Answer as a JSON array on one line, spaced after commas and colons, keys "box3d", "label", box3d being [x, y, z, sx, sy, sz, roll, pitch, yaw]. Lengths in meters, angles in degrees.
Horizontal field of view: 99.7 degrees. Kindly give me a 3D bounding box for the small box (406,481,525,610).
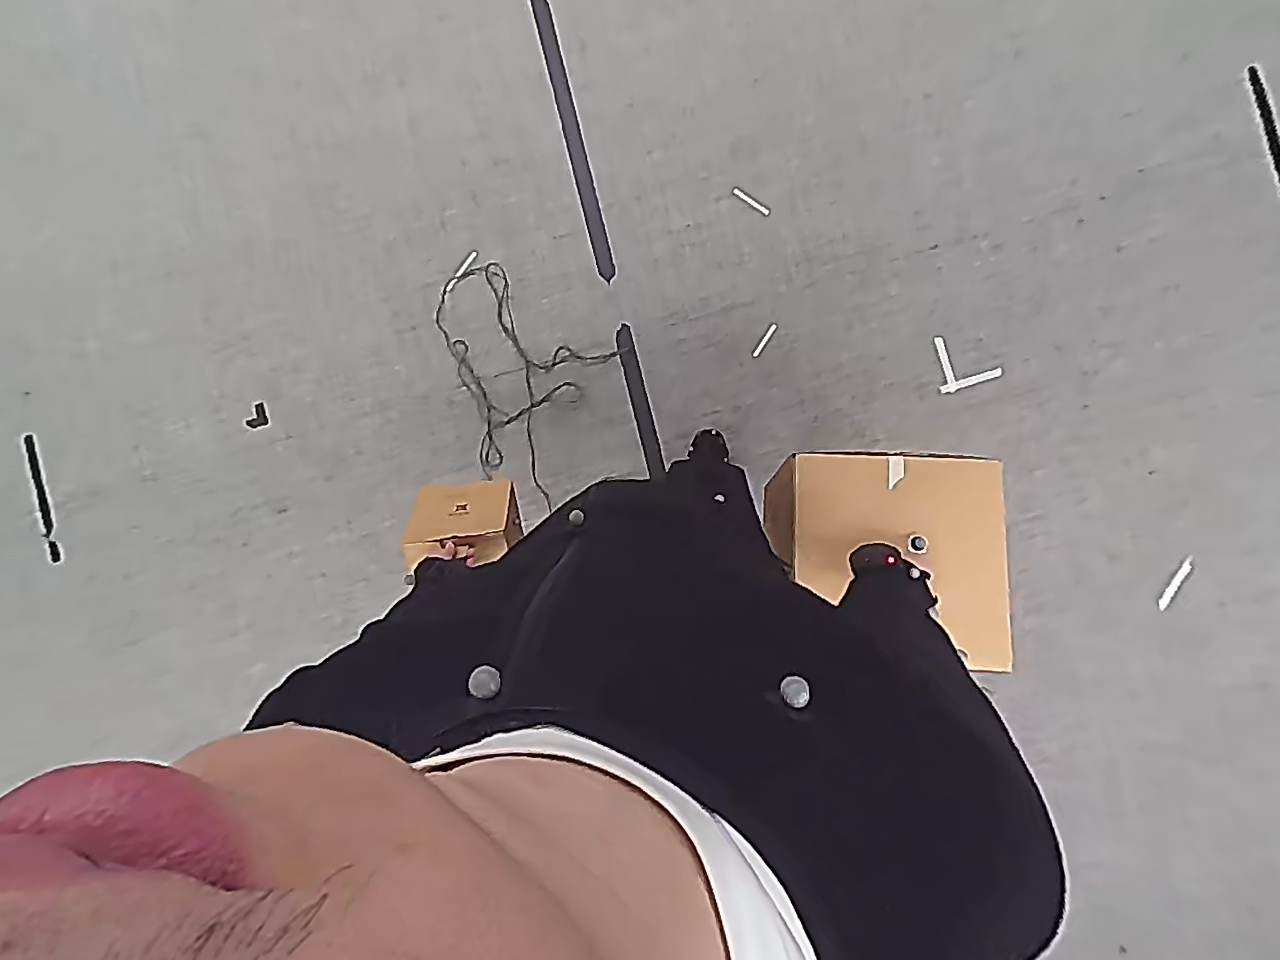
[{"box3d": [-0.309, 0.123, 0.997, 0.168, 0.179, 0.176, -7, 120, -6], "label": "small box"}]
